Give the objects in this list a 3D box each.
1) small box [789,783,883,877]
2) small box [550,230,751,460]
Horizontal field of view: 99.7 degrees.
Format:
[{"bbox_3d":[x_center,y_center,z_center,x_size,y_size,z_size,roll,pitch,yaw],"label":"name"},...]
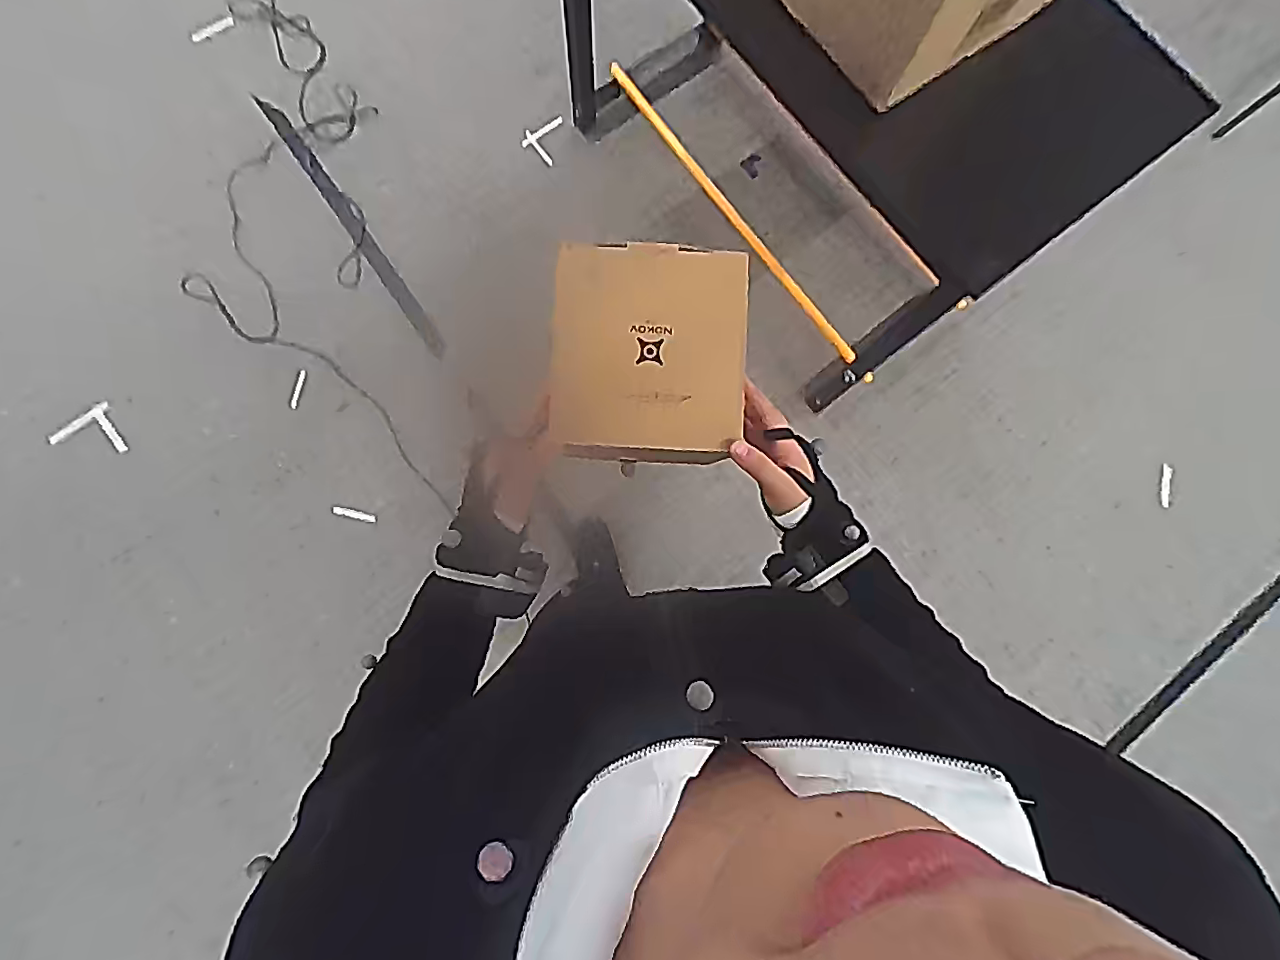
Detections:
[{"bbox_3d":[0.498,0.891,1.329,0.179,0.176,0.168,-33,84,-6],"label":"small box"},{"bbox_3d":[0.006,-0.117,0.534,0.168,0.176,0.179,3,88,-2],"label":"small box"}]
